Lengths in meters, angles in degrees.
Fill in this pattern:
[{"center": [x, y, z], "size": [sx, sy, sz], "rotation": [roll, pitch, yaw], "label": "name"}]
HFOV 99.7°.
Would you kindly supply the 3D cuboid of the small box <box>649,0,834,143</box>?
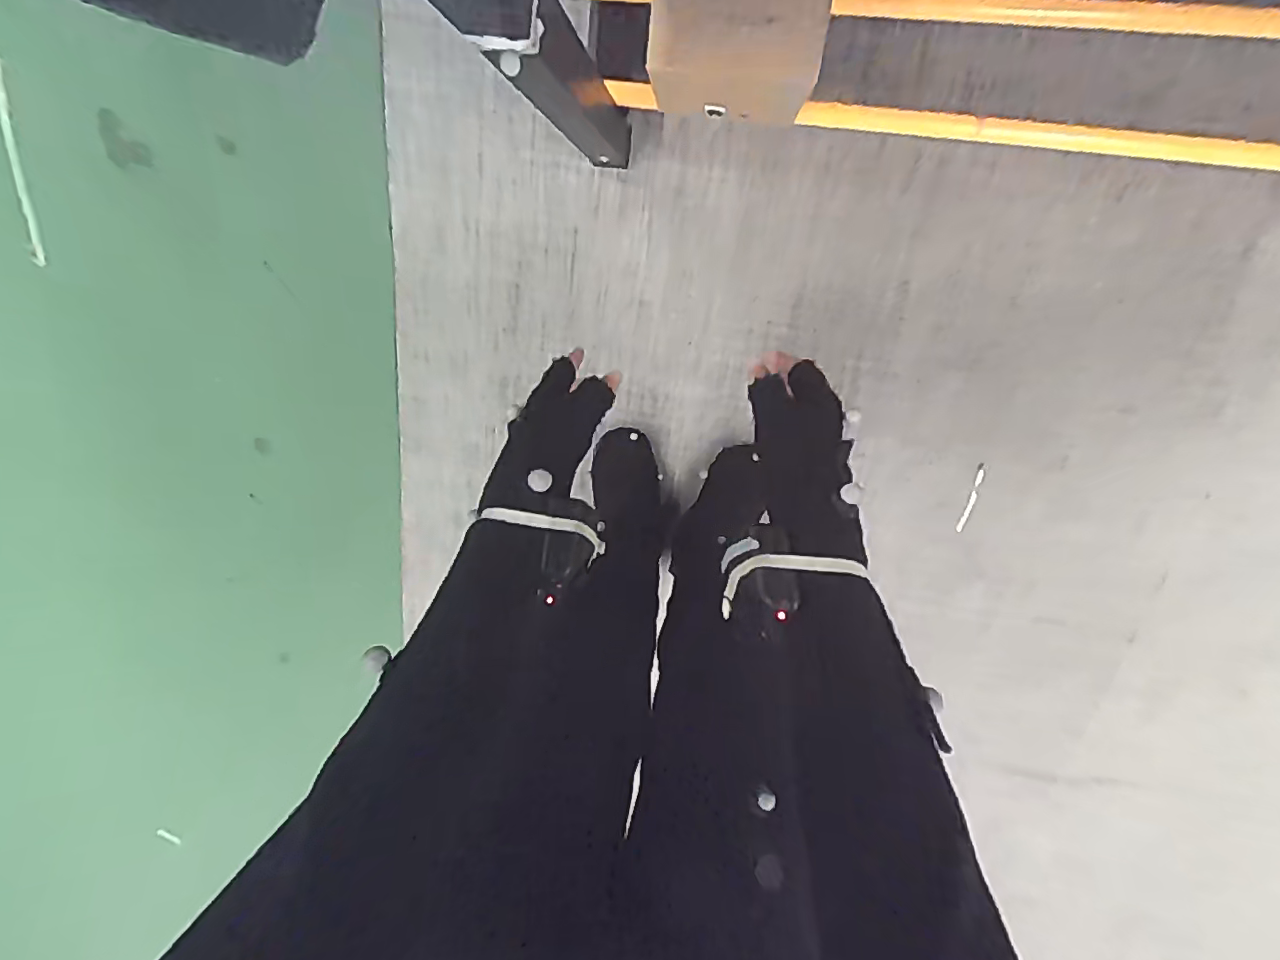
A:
[{"center": [0.105, -0.479, 0.567], "size": [0.168, 0.176, 0.179], "rotation": [7, 112, 4], "label": "small box"}]
